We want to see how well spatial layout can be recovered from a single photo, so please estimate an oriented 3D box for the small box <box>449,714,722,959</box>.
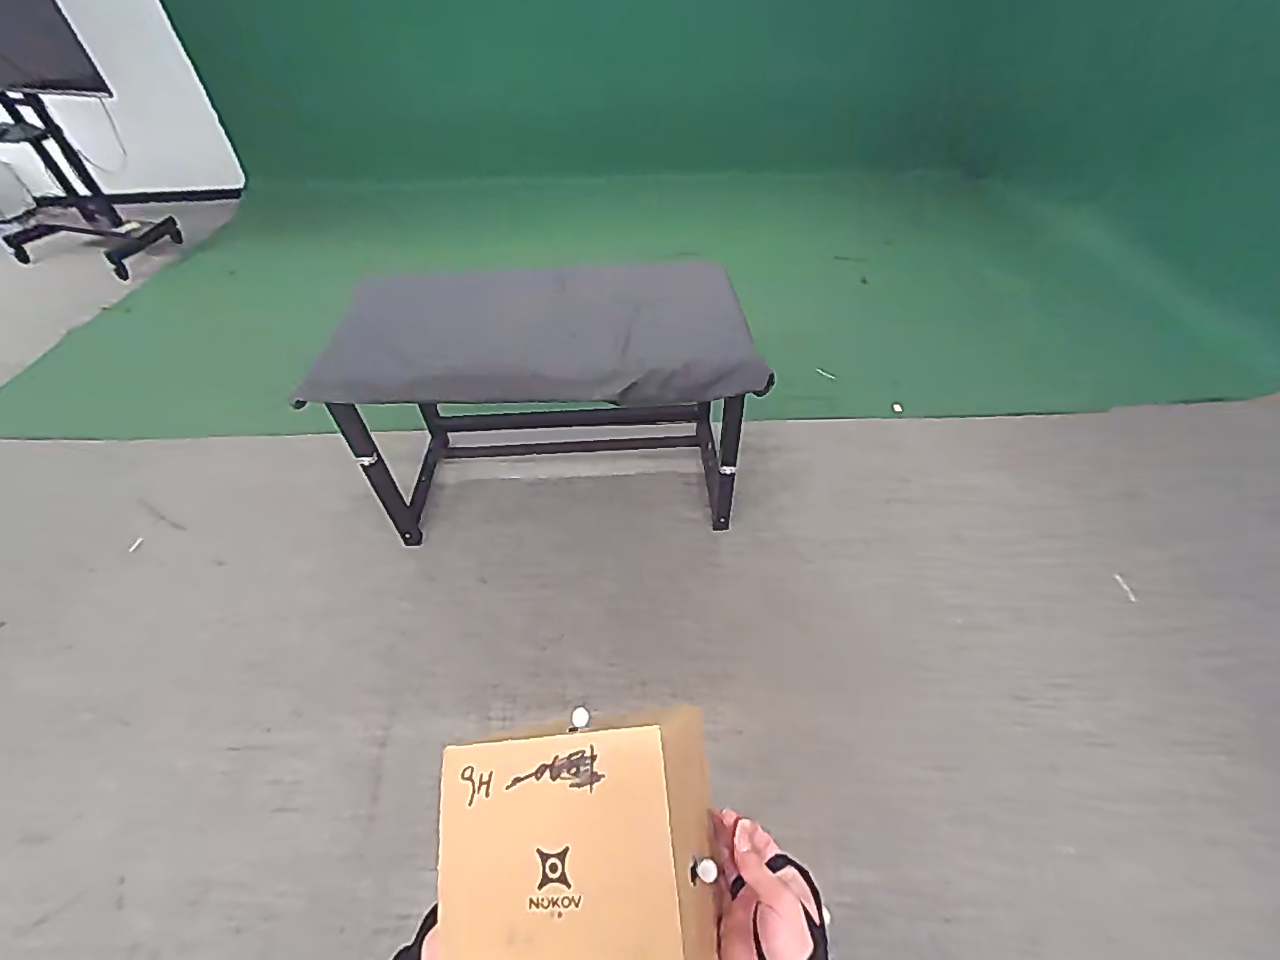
[{"bbox_3d":[-0.032,0.295,0.431,0.168,0.176,0.179,-10,70,11],"label":"small box"}]
